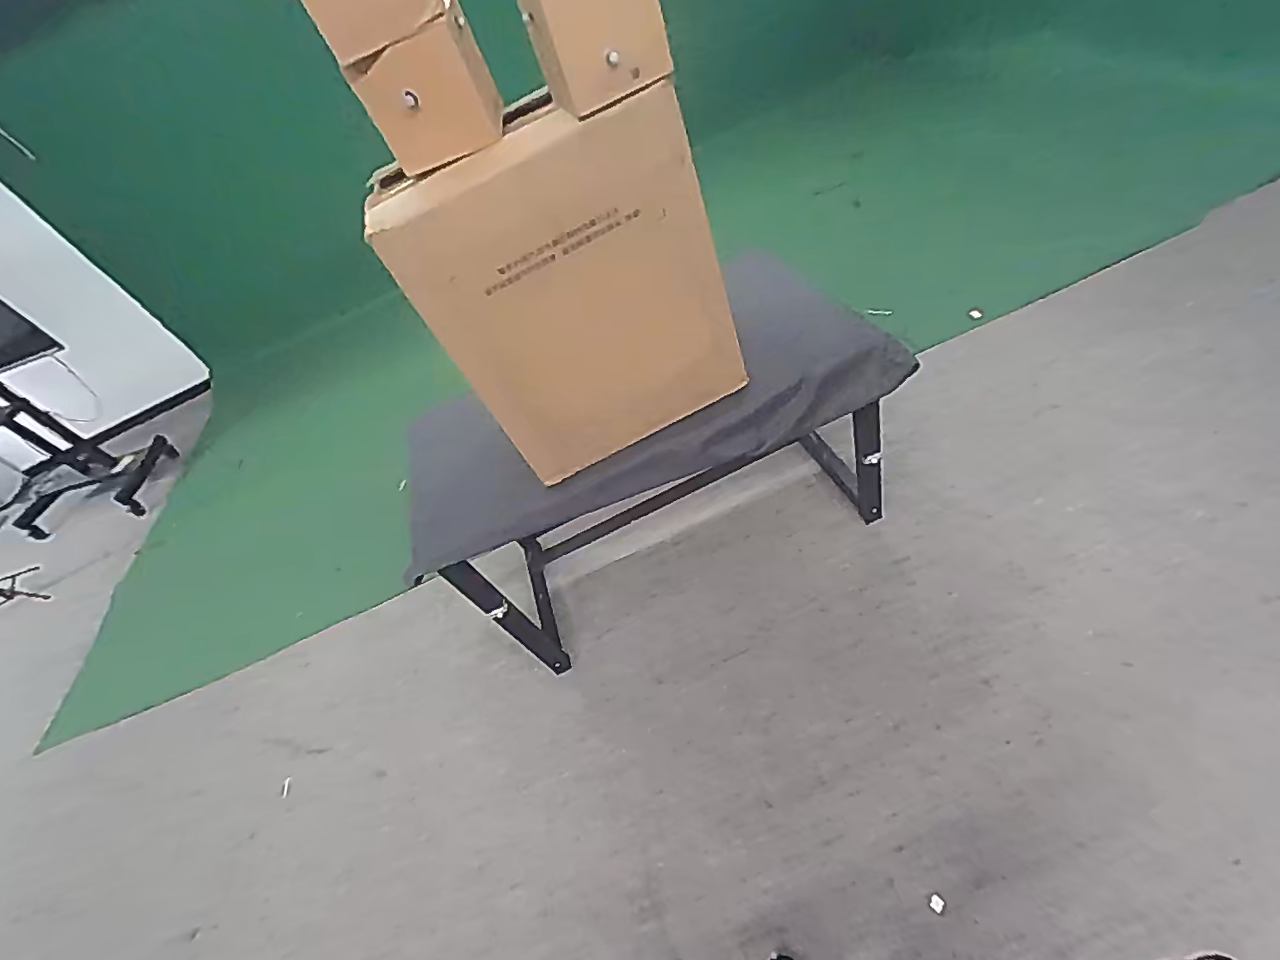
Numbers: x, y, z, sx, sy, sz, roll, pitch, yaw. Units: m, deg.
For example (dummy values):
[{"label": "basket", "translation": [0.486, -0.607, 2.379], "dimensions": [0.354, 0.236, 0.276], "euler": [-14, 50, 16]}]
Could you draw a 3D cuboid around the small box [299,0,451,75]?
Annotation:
[{"label": "small box", "translation": [-0.401, -0.714, 0.764], "dimensions": [0.179, 0.176, 0.168], "euler": [-30, 53, -3]}]

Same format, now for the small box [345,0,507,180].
[{"label": "small box", "translation": [-0.339, -0.632, 0.890], "dimensions": [0.179, 0.176, 0.168], "euler": [-17, 54, 9]}]

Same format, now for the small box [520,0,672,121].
[{"label": "small box", "translation": [-0.070, -0.683, 0.829], "dimensions": [0.168, 0.176, 0.179], "euler": [-27, 45, 0]}]
